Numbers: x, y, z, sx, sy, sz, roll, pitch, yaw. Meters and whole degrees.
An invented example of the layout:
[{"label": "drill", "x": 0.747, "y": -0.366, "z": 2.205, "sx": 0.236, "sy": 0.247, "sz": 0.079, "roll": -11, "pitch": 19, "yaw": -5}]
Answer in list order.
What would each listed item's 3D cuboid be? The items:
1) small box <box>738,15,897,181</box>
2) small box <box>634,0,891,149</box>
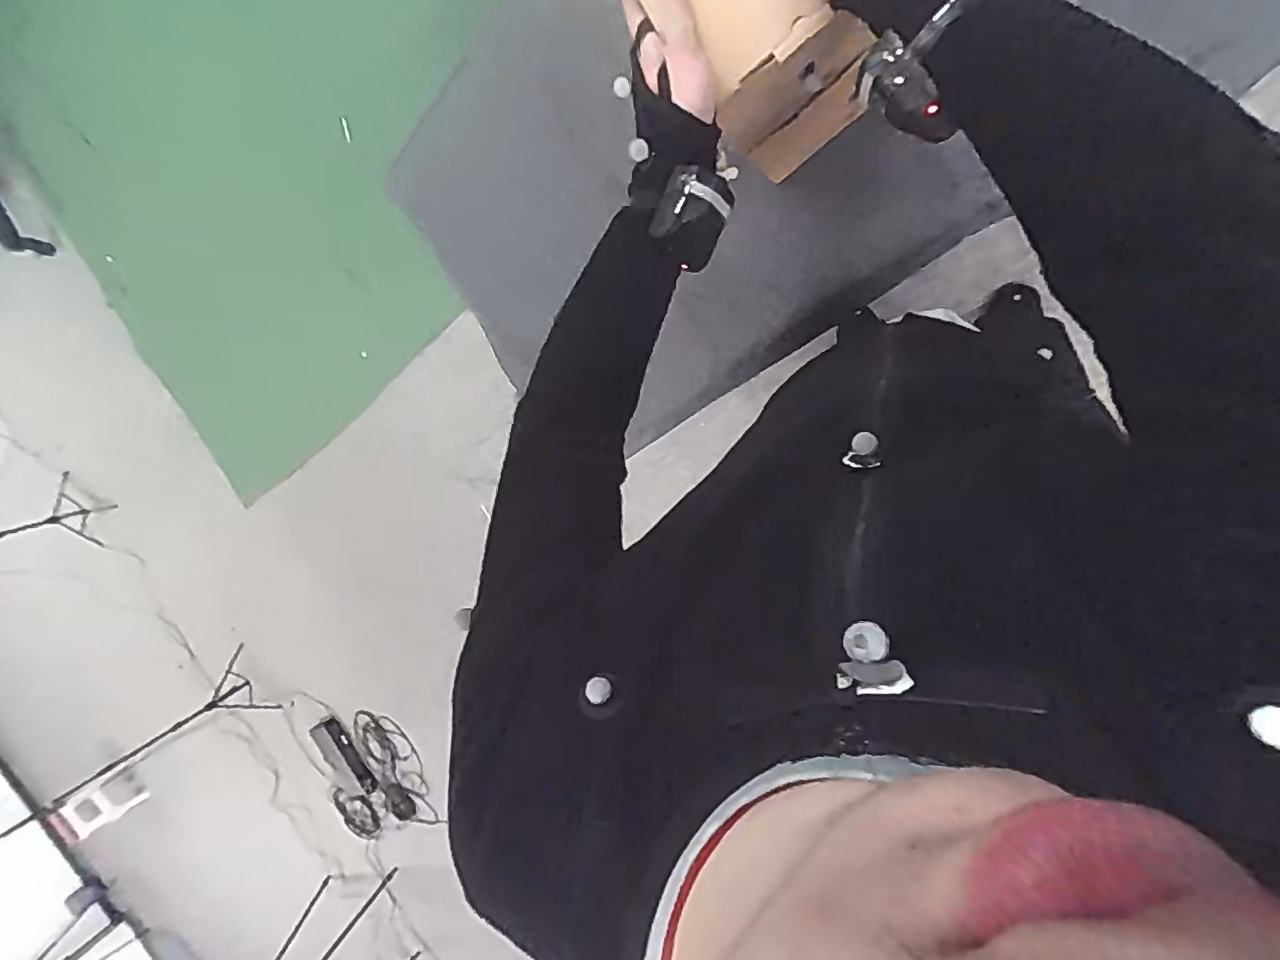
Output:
[{"label": "small box", "x": 0.161, "y": -0.461, "z": 0.593, "sx": 0.168, "sy": 0.176, "sz": 0.179, "roll": -32, "pitch": 92, "yaw": 28}, {"label": "small box", "x": 0.097, "y": -0.413, "z": 0.454, "sx": 0.168, "sy": 0.176, "sz": 0.179, "roll": -30, "pitch": 98, "yaw": 25}]
